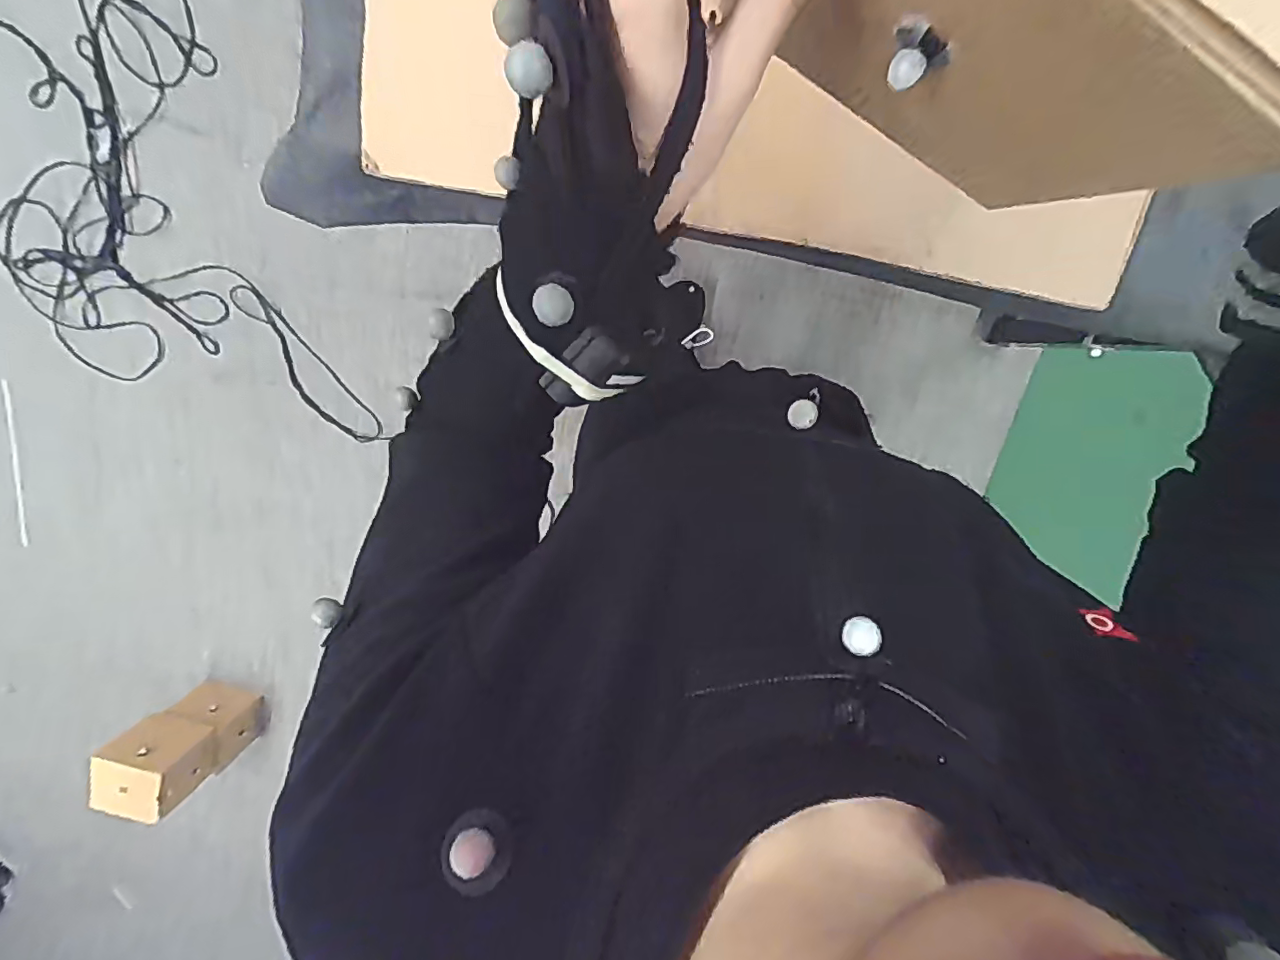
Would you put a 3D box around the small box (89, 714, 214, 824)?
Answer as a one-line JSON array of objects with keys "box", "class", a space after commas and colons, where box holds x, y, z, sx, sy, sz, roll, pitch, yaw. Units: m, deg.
[{"box": [-1.261, 0.741, 1.404, 0.179, 0.176, 0.168, 16, 105, -2], "class": "small box"}]

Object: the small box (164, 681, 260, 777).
[{"box": [-1.243, 0.713, 1.565, 0.179, 0.176, 0.168, 15, 105, -2], "class": "small box"}]
